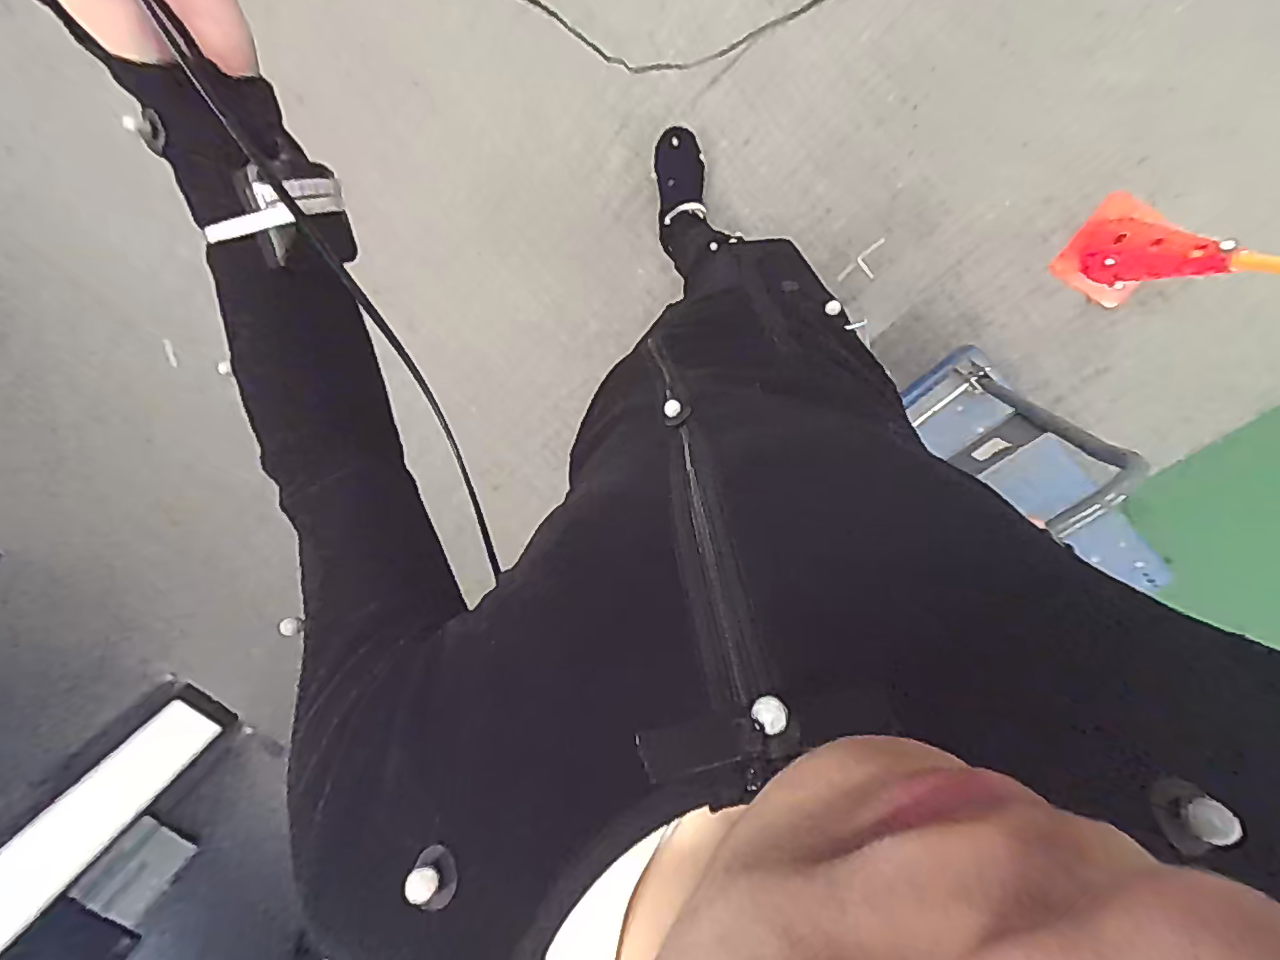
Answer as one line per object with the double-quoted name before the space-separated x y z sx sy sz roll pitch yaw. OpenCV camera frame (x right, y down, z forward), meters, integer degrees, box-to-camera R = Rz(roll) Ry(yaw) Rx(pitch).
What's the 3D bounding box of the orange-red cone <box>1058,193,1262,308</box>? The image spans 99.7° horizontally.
"orange-red cone" 1.092 -0.459 1.104 0.198 0.360 0.199 30 115 -6
